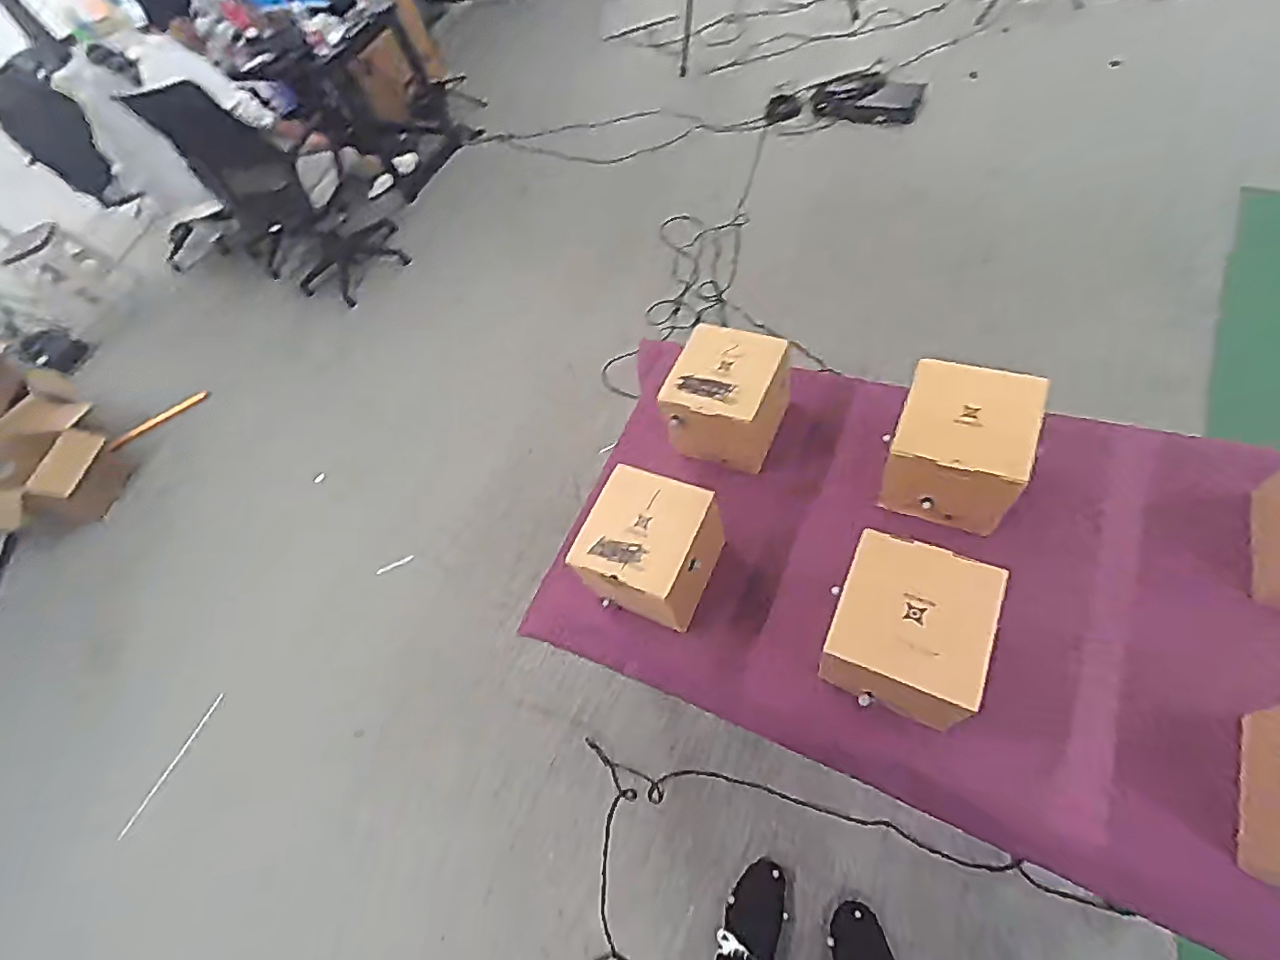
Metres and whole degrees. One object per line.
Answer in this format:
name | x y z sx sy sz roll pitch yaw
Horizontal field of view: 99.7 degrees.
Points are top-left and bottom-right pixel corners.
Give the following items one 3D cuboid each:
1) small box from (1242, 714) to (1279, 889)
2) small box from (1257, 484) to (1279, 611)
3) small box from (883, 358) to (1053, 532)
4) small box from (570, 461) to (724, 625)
small box | 0.734 0.331 0.512 0.168 0.176 0.179 19 64 26
small box | 0.878 0.070 0.626 0.168 0.176 0.179 16 66 26
small box | 0.480 -0.049 0.813 0.168 0.176 0.179 18 68 23
small box | 0.023 0.103 0.845 0.168 0.176 0.179 18 66 23
